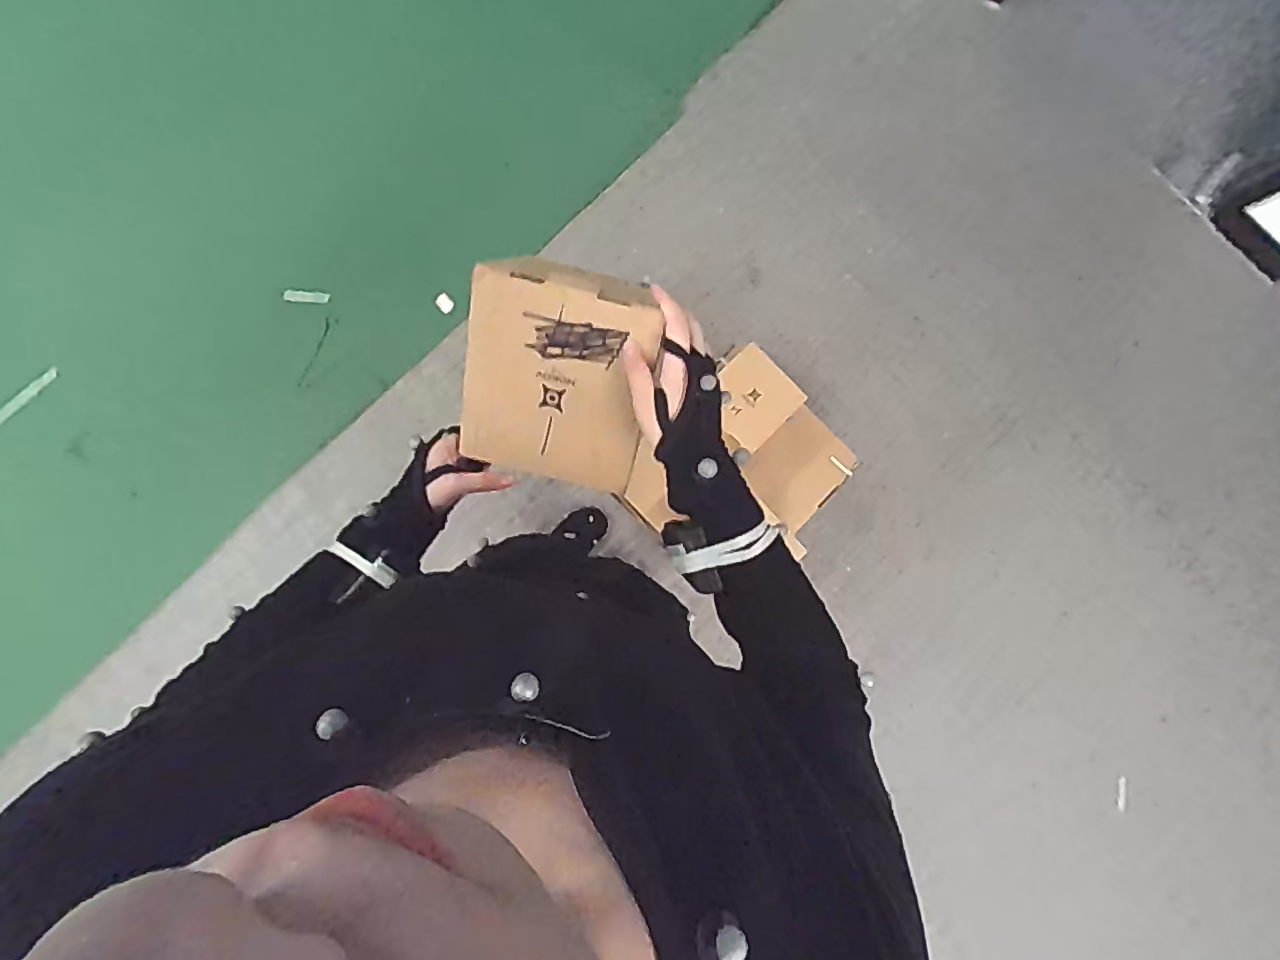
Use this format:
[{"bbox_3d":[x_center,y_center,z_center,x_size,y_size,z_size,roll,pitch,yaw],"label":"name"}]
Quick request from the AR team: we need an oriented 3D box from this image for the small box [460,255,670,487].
[{"bbox_3d":[-0.068,-0.121,0.552,0.168,0.176,0.179,13,117,-1],"label":"small box"}]

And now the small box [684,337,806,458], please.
[{"bbox_3d":[0.215,-0.170,1.166,0.179,0.176,0.168,-44,90,-8],"label":"small box"}]
